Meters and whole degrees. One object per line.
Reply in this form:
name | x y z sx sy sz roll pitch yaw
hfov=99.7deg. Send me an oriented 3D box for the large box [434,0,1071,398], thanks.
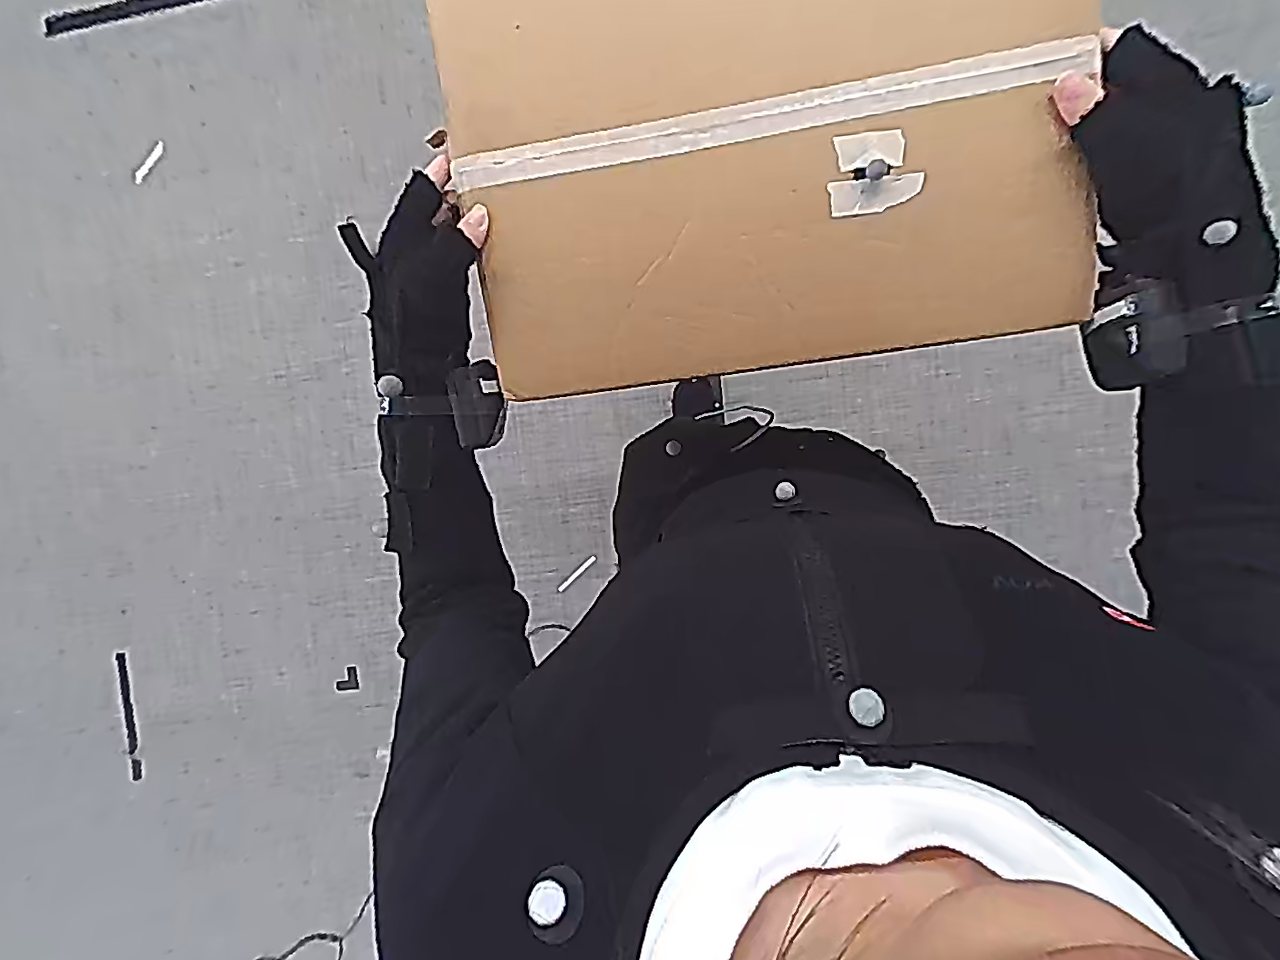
large box | 0.084 -0.268 0.507 0.408 0.320 0.320 -8 102 5
